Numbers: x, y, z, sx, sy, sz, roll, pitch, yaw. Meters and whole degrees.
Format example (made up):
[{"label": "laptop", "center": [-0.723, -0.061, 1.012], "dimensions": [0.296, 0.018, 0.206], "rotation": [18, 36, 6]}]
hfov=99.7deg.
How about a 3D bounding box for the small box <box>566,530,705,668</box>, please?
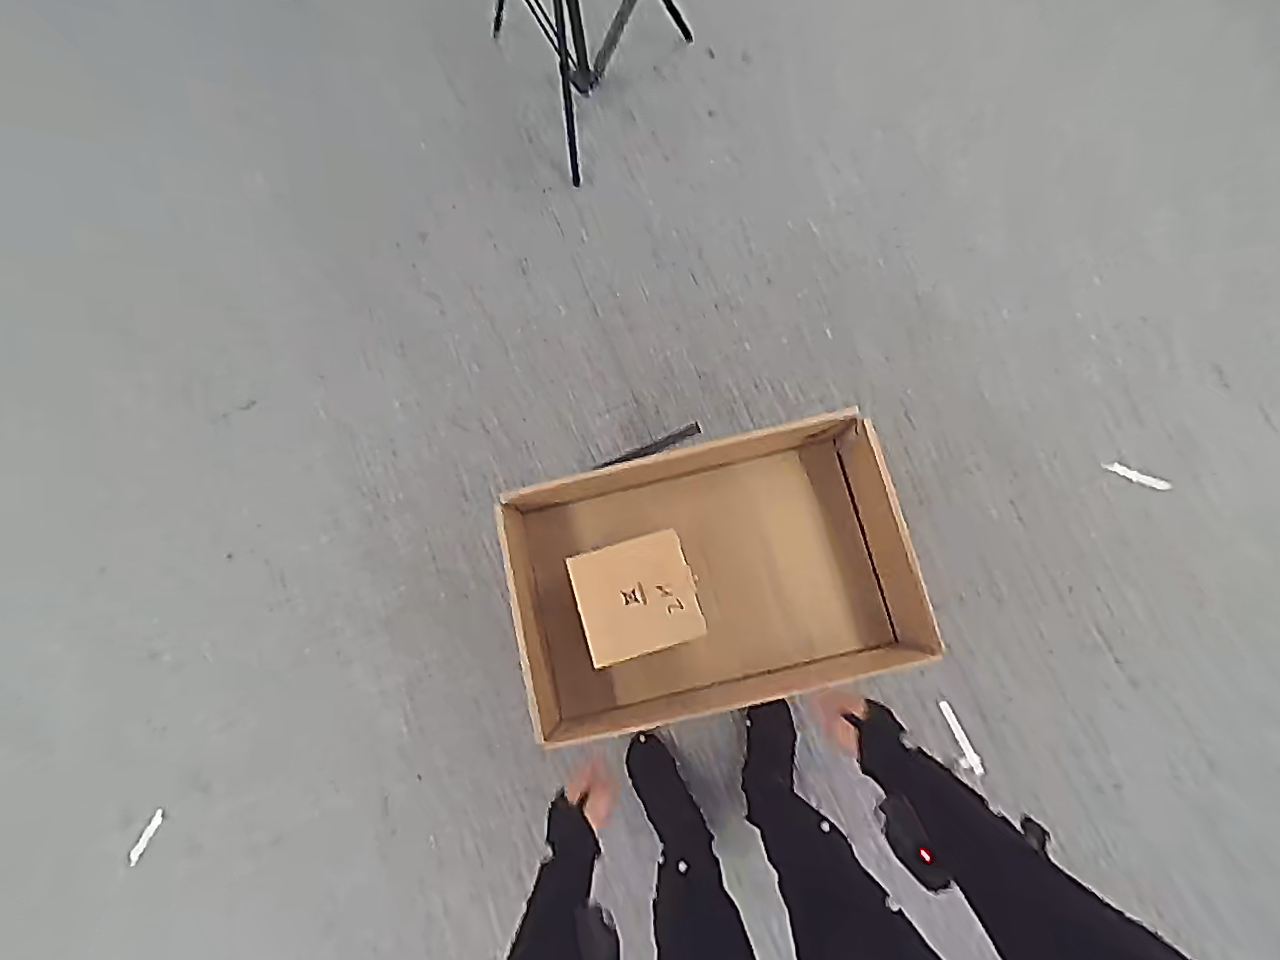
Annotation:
[{"label": "small box", "center": [-0.003, 0.190, 0.876], "dimensions": [0.179, 0.176, 0.168], "rotation": [-16, 79, -1]}]
